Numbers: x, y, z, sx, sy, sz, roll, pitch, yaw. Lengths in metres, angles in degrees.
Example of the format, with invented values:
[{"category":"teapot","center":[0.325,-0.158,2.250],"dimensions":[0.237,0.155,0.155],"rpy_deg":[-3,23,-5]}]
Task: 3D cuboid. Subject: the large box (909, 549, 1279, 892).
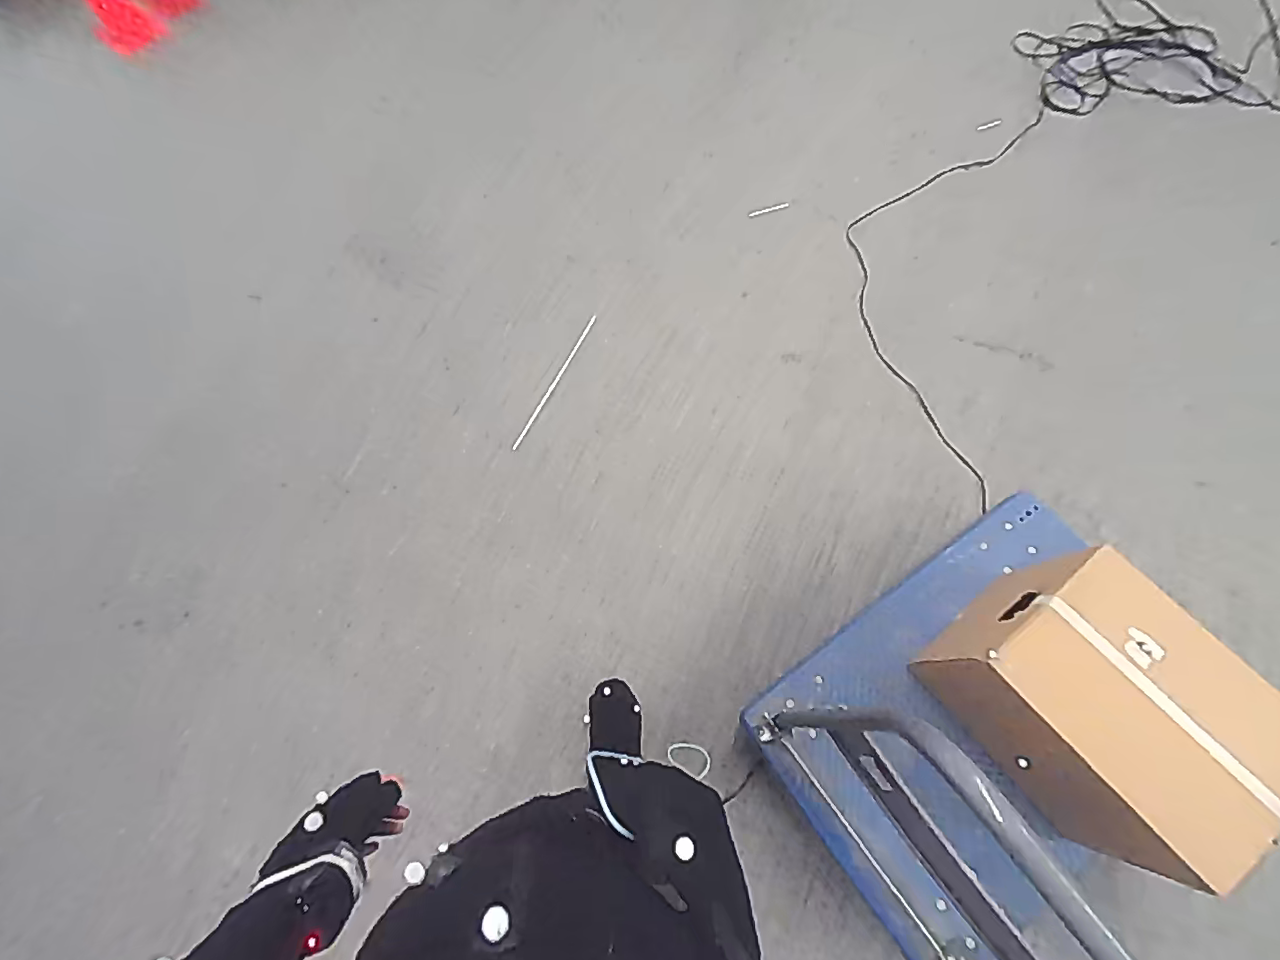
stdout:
[{"category":"large box","center":[0.796,0.398,0.973],"dimensions":[0.320,0.320,0.408],"rpy_deg":[-37,72,-12]}]
